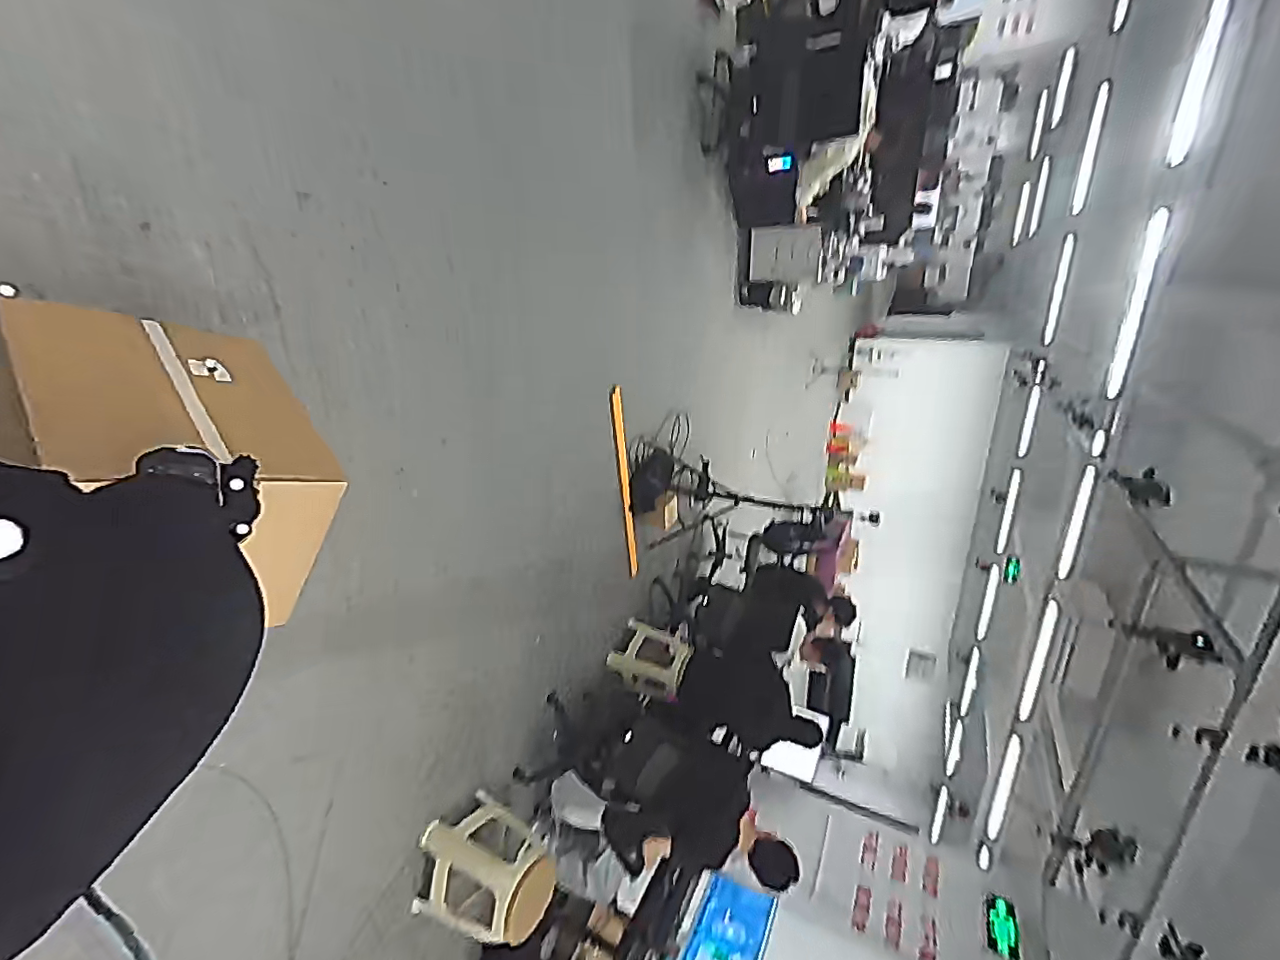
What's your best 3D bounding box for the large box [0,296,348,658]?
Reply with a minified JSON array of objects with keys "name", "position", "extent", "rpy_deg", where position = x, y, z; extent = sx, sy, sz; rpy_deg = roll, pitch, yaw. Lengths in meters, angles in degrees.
[{"name":"large box","position":[-0.728,-0.013,0.828],"extent":[0.320,0.408,0.320],"rpy_deg":[-1,129,-57]}]
